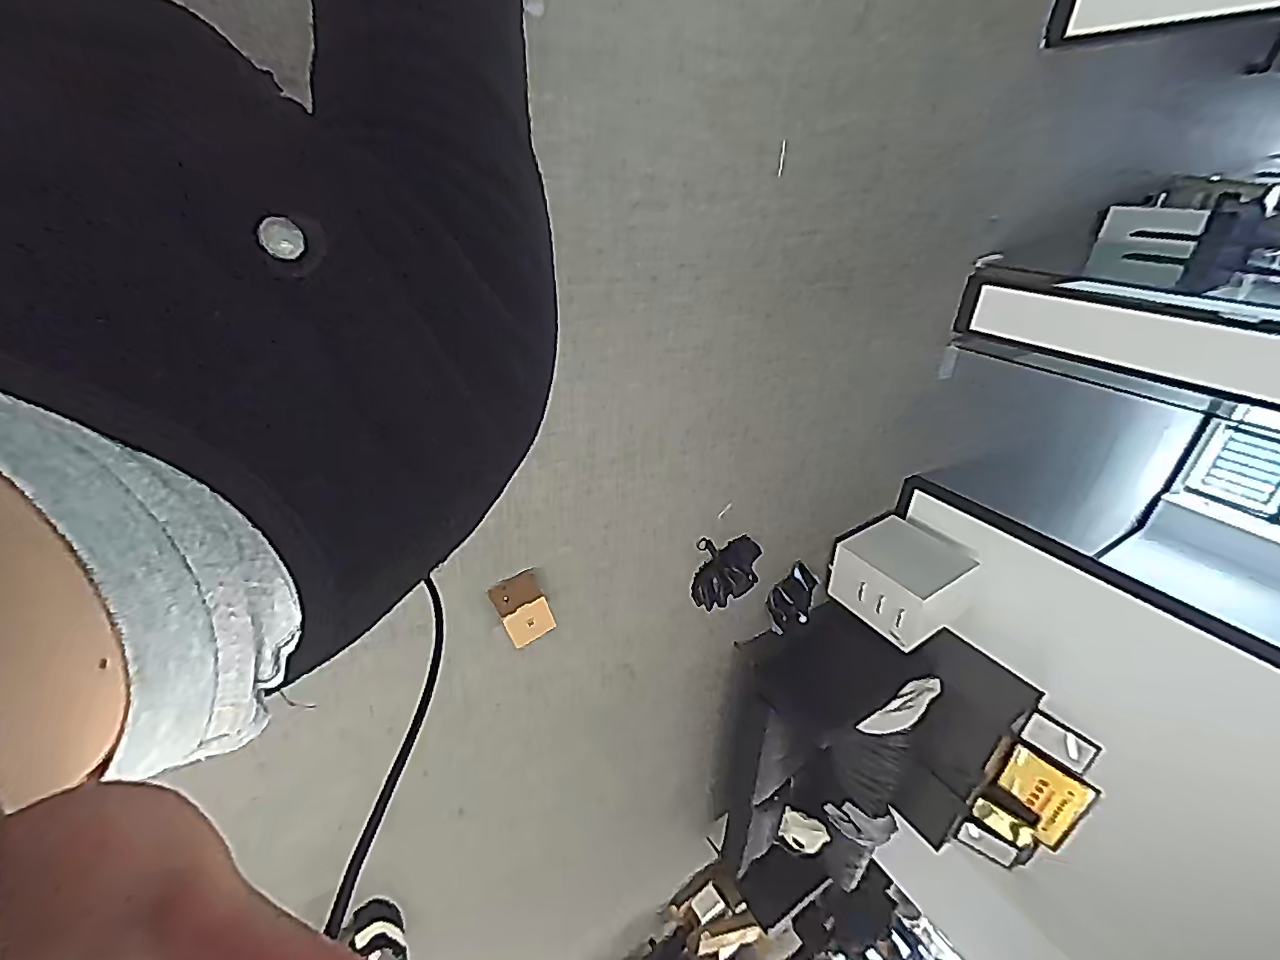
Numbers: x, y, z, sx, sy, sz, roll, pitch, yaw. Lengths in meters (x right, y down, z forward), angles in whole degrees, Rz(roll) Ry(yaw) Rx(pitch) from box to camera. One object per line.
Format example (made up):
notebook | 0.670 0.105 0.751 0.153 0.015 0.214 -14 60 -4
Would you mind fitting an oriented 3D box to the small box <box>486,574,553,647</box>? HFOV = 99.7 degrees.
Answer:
small box | -0.447 0.471 1.996 0.168 0.176 0.179 -28 131 -18
